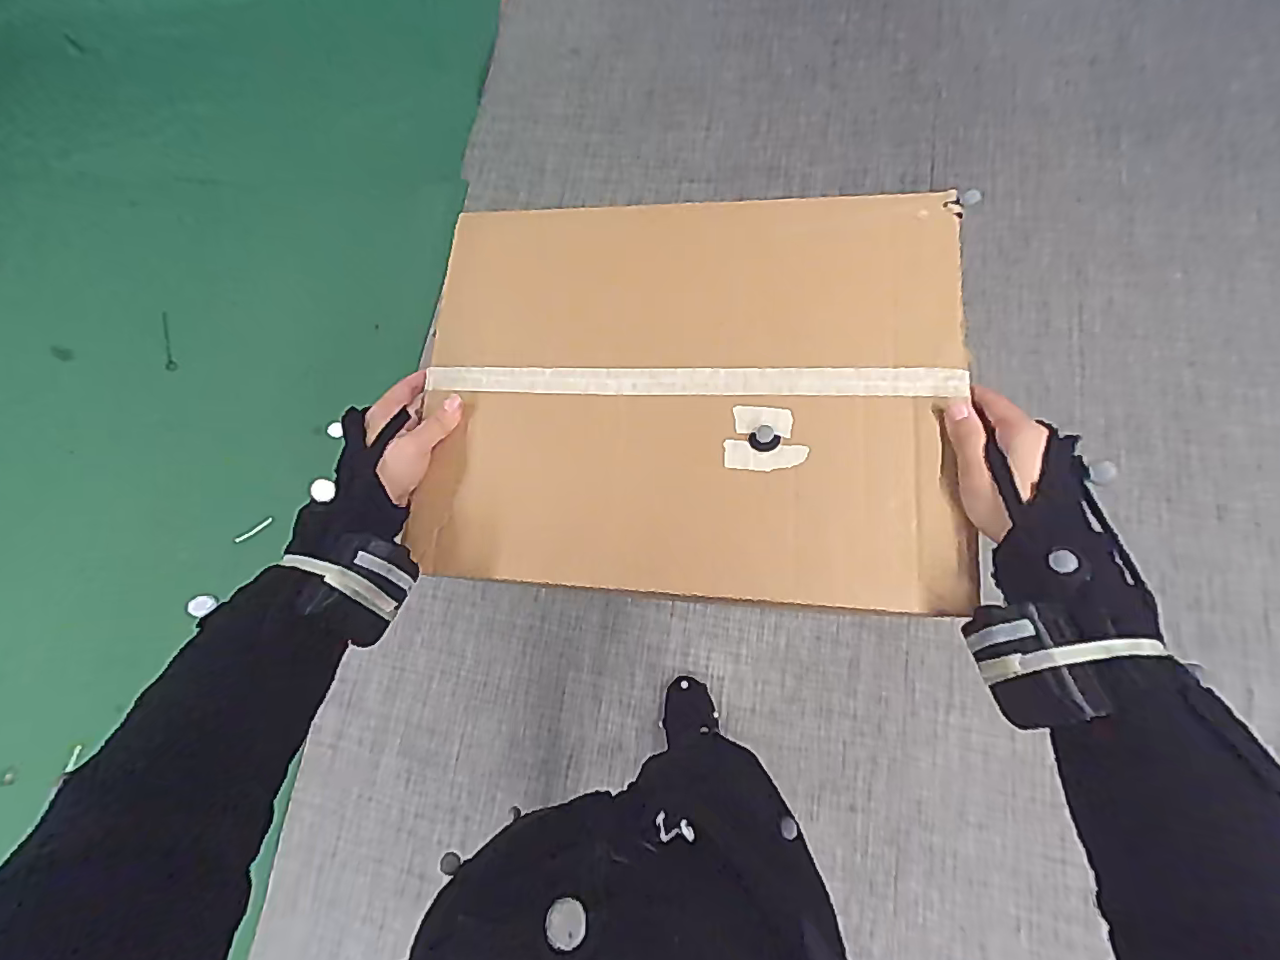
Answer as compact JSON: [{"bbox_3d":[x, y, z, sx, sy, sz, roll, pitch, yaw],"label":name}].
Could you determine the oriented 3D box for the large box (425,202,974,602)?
[{"bbox_3d":[0.056,-0.043,0.565,0.408,0.320,0.320,2,78,9],"label":"large box"}]
